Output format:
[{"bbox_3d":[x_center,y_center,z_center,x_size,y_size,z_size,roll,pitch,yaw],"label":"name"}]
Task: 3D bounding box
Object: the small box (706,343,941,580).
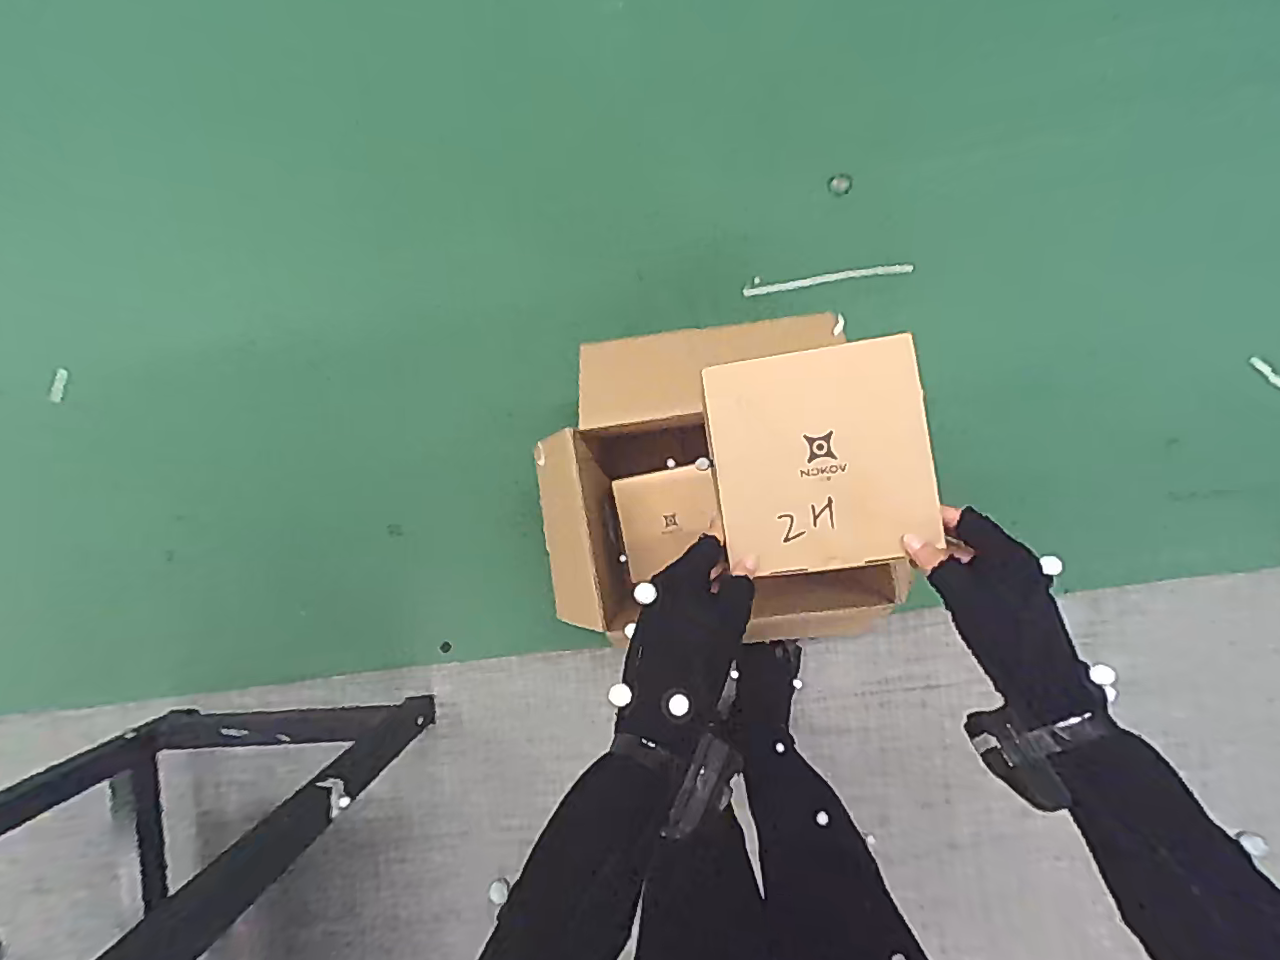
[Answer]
[{"bbox_3d":[0.154,-0.012,0.515,0.168,0.176,0.179,-9,88,7],"label":"small box"}]
